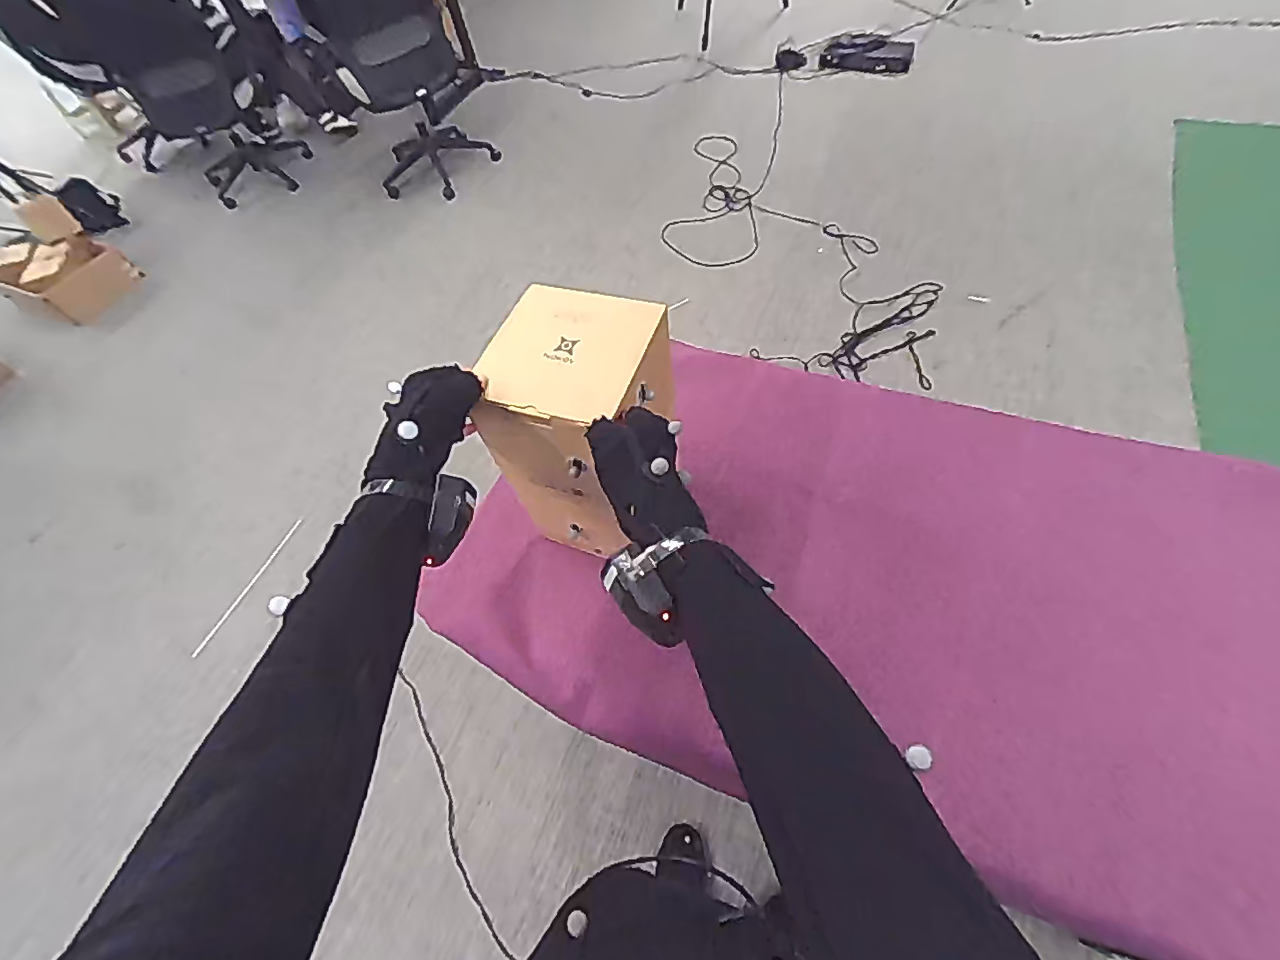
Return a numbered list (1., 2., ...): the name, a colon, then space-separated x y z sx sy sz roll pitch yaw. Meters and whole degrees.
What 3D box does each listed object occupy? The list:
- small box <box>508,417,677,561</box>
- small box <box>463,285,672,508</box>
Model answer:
1. small box: -0.052 -0.008 0.765 0.168 0.176 0.179 16 62 18
2. small box: -0.065 -0.091 0.623 0.168 0.176 0.179 15 60 15
